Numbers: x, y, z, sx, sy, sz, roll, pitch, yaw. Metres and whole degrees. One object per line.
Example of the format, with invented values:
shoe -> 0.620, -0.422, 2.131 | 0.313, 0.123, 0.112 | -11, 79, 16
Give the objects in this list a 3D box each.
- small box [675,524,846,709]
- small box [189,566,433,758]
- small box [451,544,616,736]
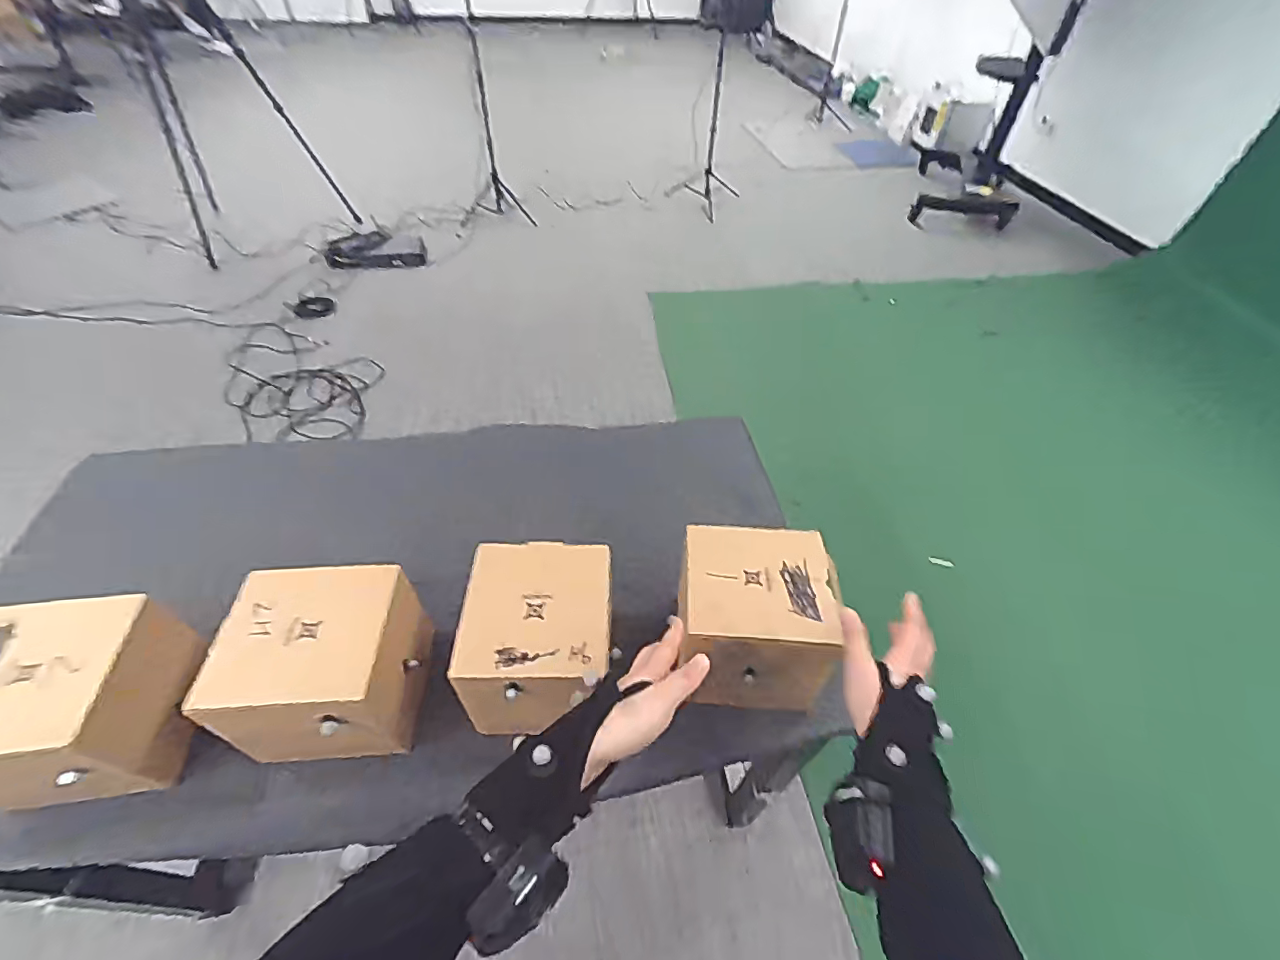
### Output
small box -> 0.141, 0.179, 0.699 | 0.179, 0.176, 0.168 | 4, 43, 2
small box -> -0.368, 0.220, 0.651 | 0.179, 0.176, 0.168 | -2, 46, -3
small box -> -0.117, 0.199, 0.678 | 0.168, 0.176, 0.179 | -1, 45, 0
